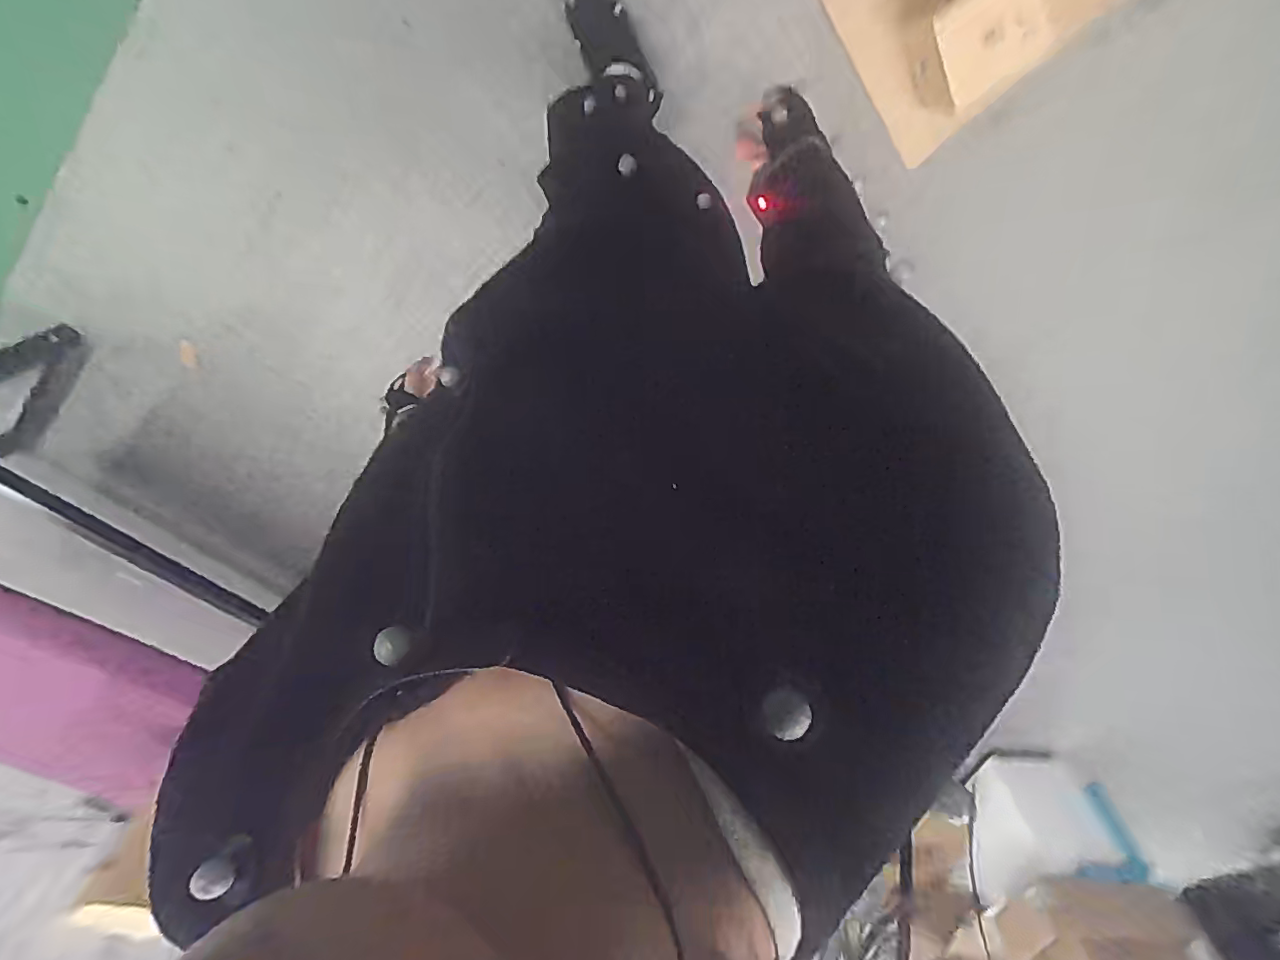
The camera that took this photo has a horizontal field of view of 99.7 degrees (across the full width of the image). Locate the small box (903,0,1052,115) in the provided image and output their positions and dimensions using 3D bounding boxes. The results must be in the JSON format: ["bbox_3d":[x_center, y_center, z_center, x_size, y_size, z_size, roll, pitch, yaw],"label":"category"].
[{"bbox_3d":[0.624,-0.828,1.022,0.179,0.176,0.168,-28,122,18],"label":"small box"}]

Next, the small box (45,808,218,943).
[{"bbox_3d":[-1.011,0.795,1.094,0.179,0.176,0.168,-34,119,21],"label":"small box"}]

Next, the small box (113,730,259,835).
[{"bbox_3d":[-1.020,0.706,1.231,0.179,0.176,0.168,-35,119,22],"label":"small box"}]
